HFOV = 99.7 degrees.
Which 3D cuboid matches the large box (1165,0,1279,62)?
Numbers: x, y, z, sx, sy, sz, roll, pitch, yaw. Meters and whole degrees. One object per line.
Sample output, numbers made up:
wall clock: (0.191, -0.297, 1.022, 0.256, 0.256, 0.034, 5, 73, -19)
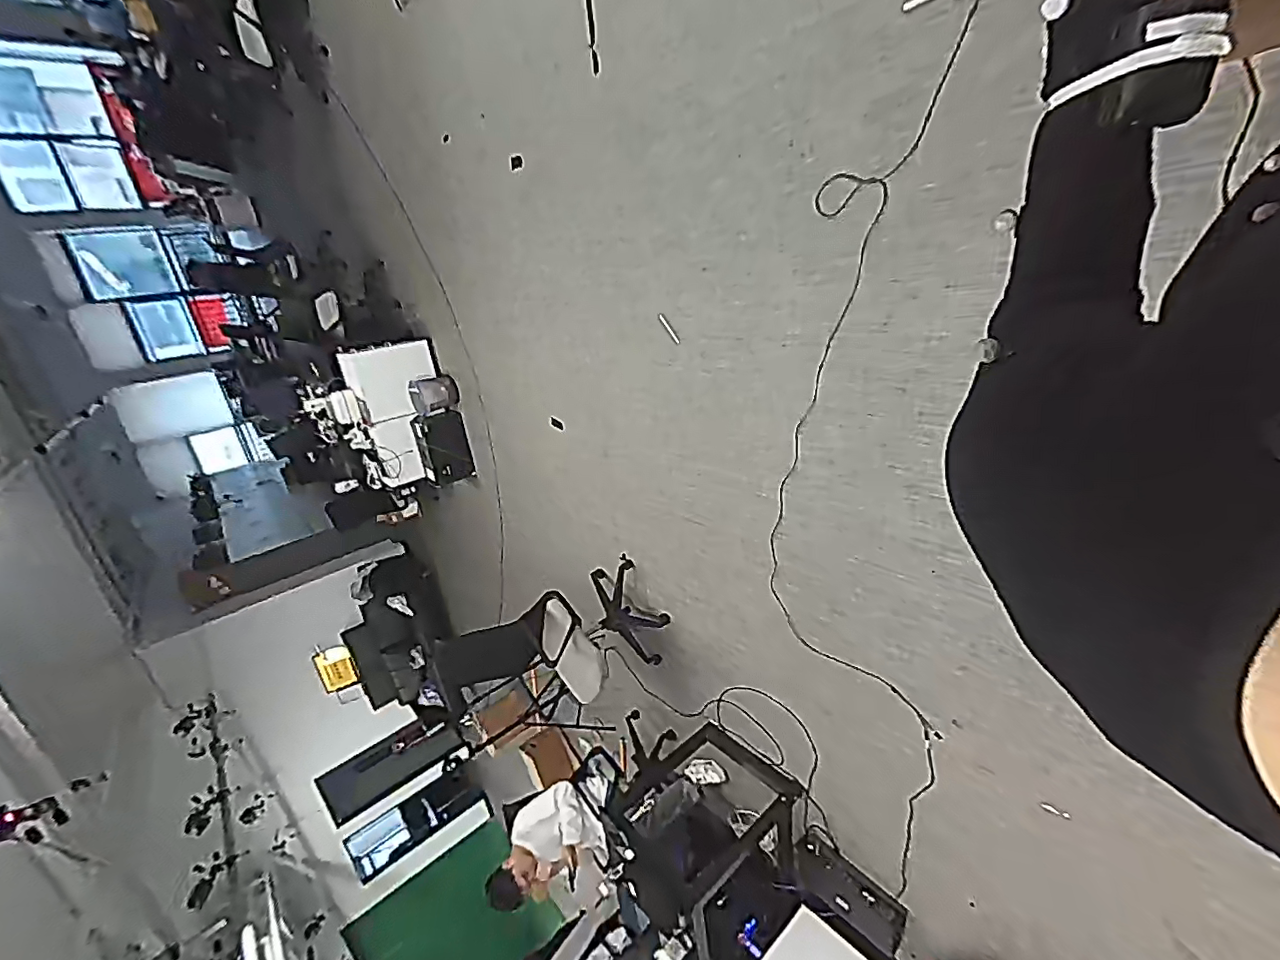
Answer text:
large box: (0.557, -0.487, 0.262, 0.408, 0.320, 0.320, 10, 118, 47)
